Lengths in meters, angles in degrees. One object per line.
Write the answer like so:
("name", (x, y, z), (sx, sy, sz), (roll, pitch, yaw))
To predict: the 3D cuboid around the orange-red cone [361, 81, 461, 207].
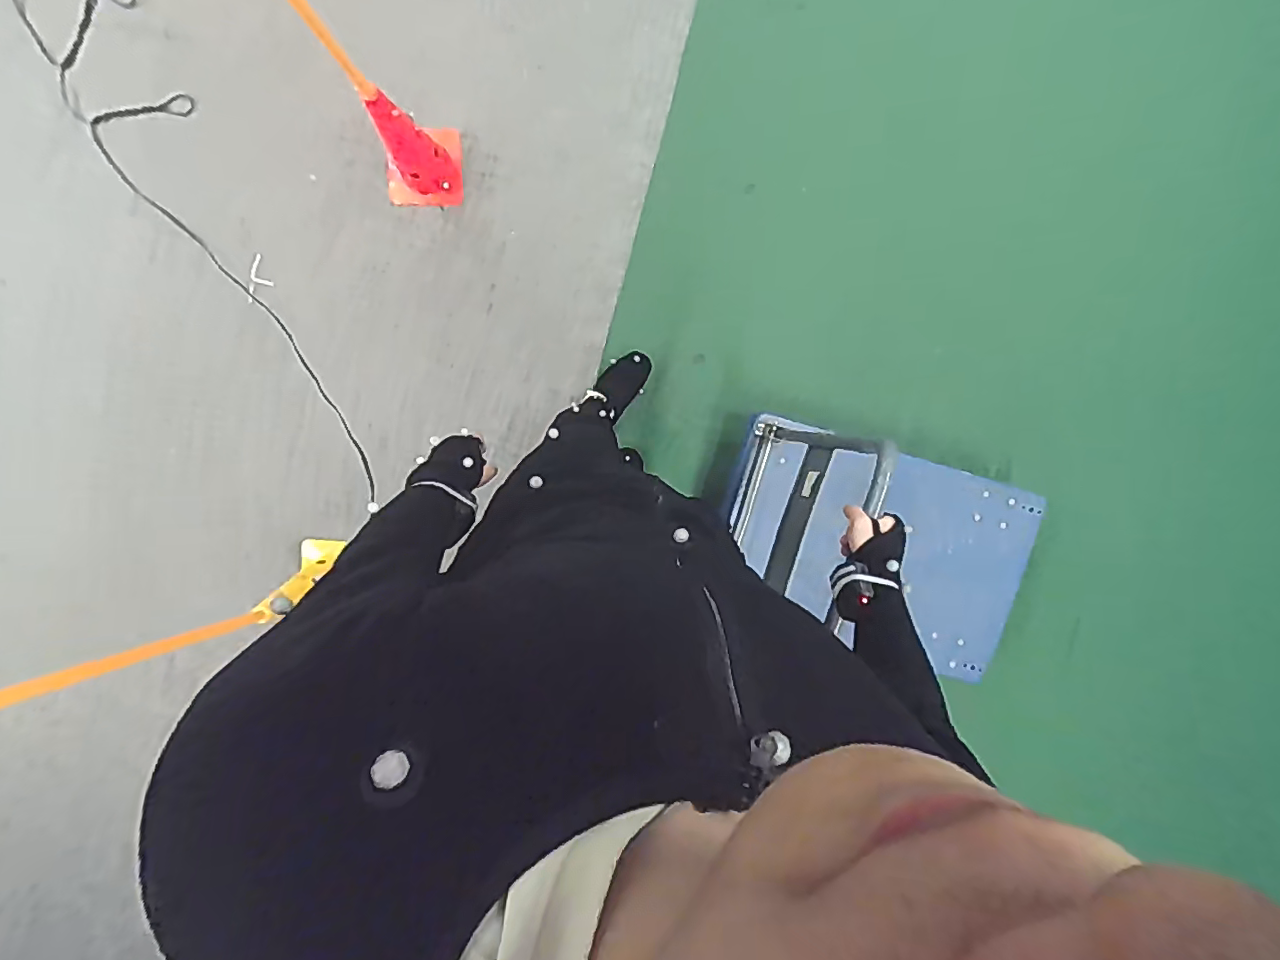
("orange-red cone", (-0.581, -0.840, 1.312), (0.198, 0.360, 0.199), (0, 95, -3))
